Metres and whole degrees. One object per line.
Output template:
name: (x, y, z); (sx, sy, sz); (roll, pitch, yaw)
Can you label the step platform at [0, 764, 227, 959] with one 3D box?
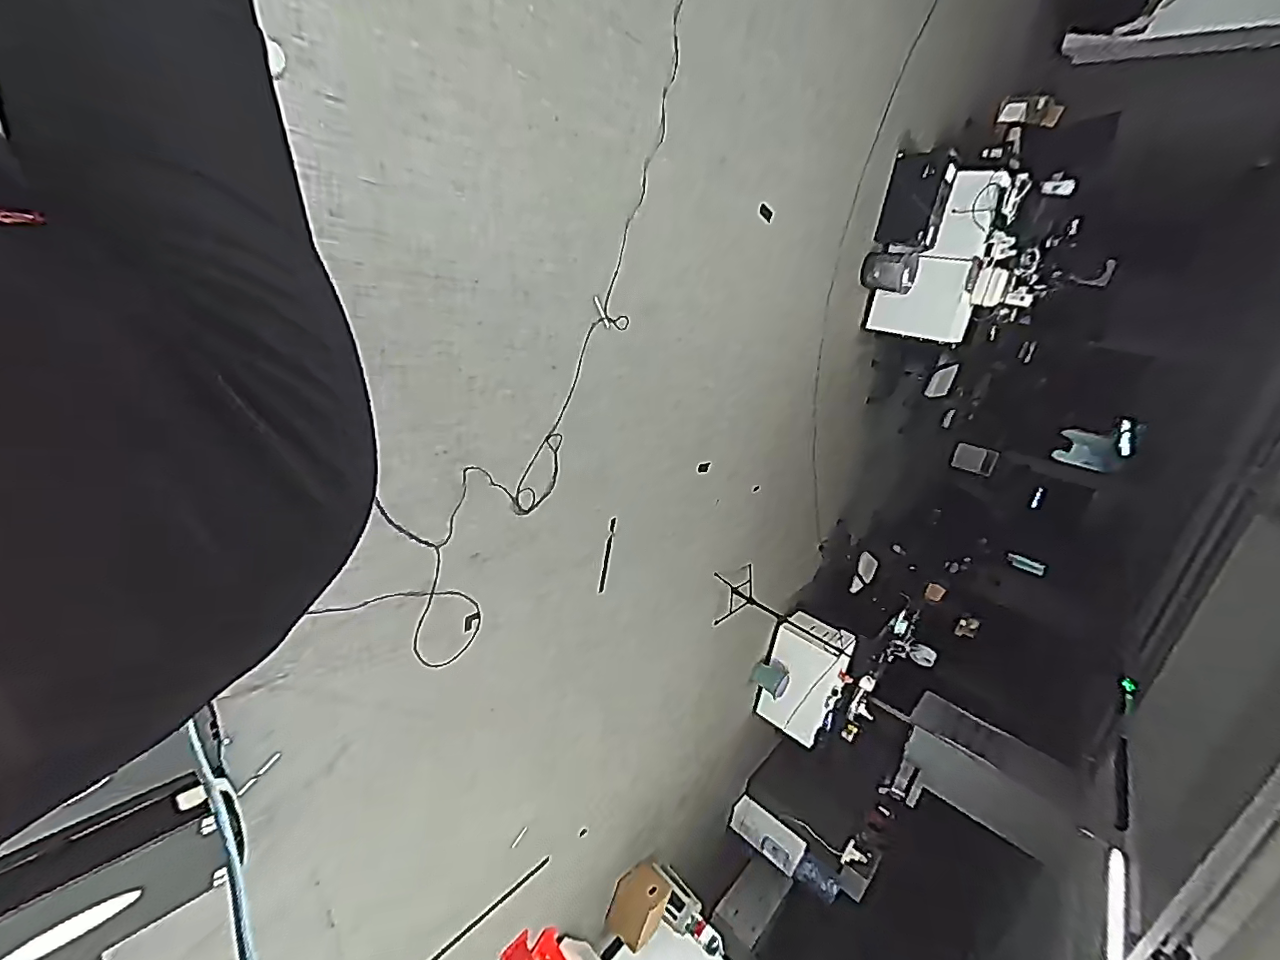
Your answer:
step platform: (-1.376, 0.981, 1.236); (0.684, 0.204, 0.286); (-16, 122, -46)
